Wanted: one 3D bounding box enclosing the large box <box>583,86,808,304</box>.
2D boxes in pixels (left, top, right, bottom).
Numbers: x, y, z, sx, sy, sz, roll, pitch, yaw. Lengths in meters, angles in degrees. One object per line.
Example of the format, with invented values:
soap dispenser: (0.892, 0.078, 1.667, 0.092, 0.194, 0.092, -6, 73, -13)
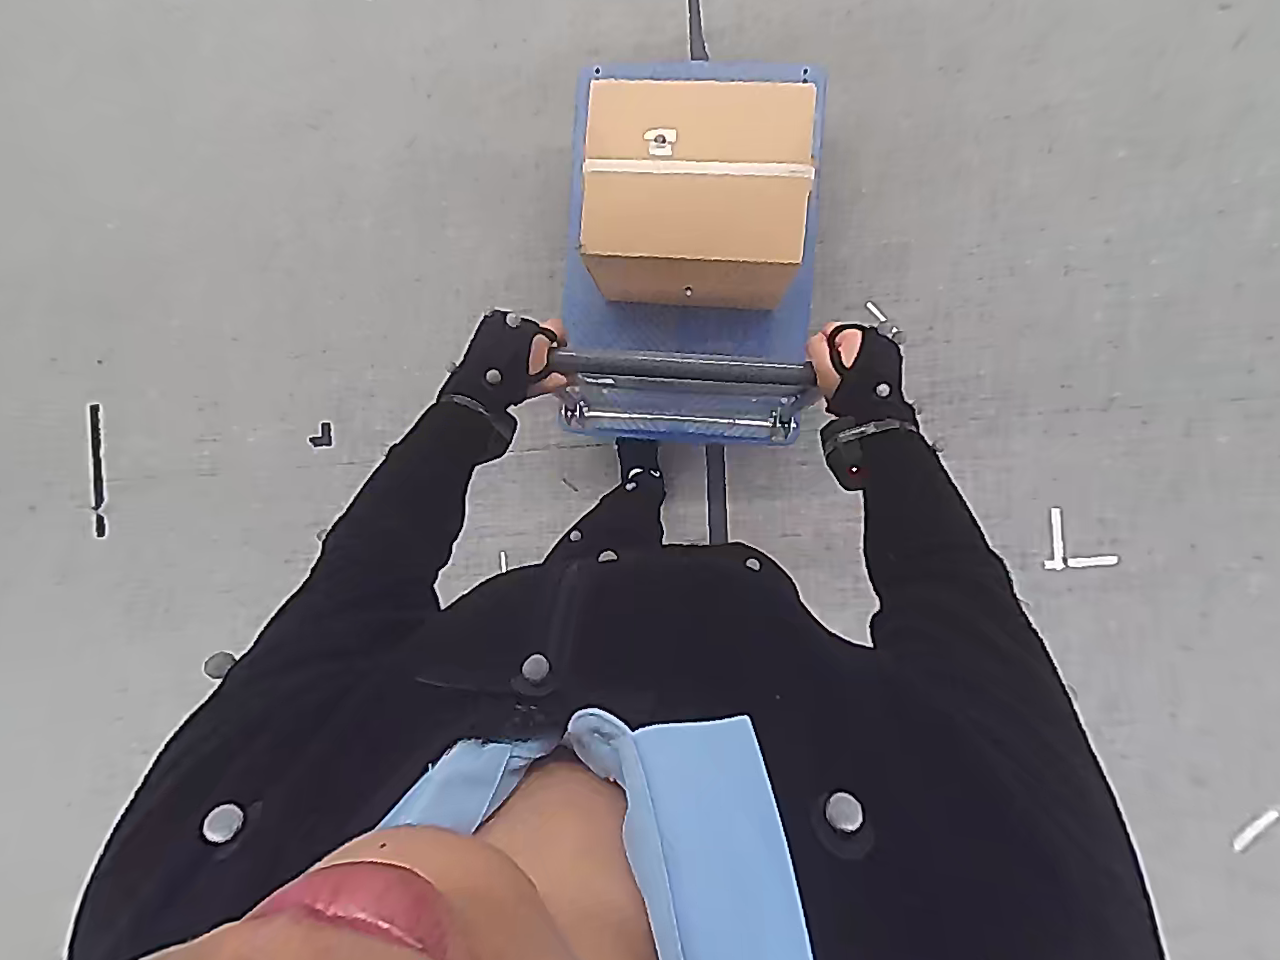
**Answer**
large box: (0.114, -0.570, 1.139, 0.408, 0.320, 0.320, 4, 92, 6)
